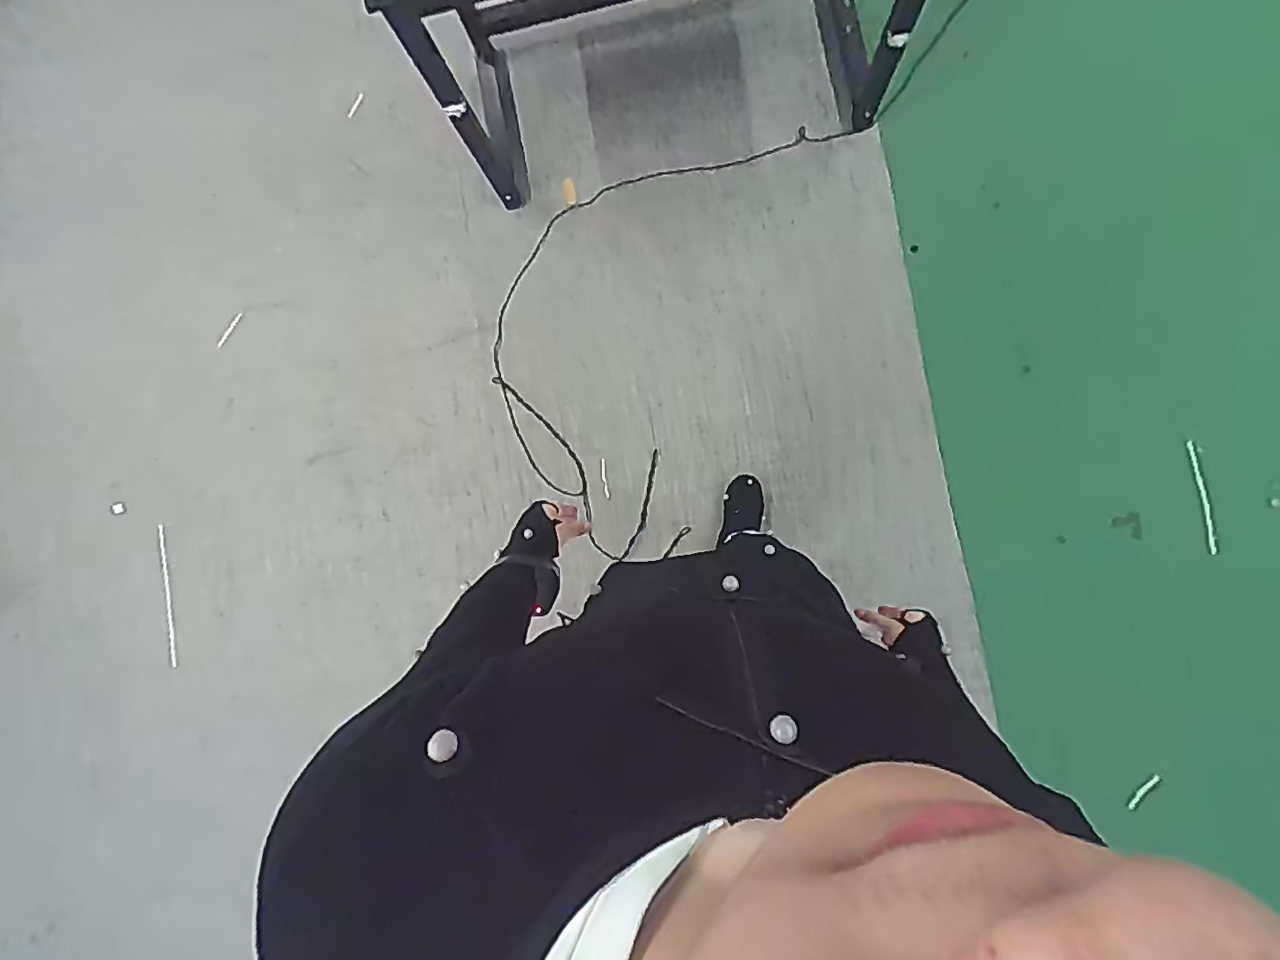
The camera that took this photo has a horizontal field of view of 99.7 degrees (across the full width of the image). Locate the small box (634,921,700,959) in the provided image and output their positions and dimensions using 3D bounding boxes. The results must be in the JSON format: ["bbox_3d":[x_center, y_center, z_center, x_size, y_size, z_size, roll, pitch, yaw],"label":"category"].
[{"bbox_3d":[0.074,1.295,1.411,0.168,0.176,0.179,-6,85,5],"label":"small box"}]
